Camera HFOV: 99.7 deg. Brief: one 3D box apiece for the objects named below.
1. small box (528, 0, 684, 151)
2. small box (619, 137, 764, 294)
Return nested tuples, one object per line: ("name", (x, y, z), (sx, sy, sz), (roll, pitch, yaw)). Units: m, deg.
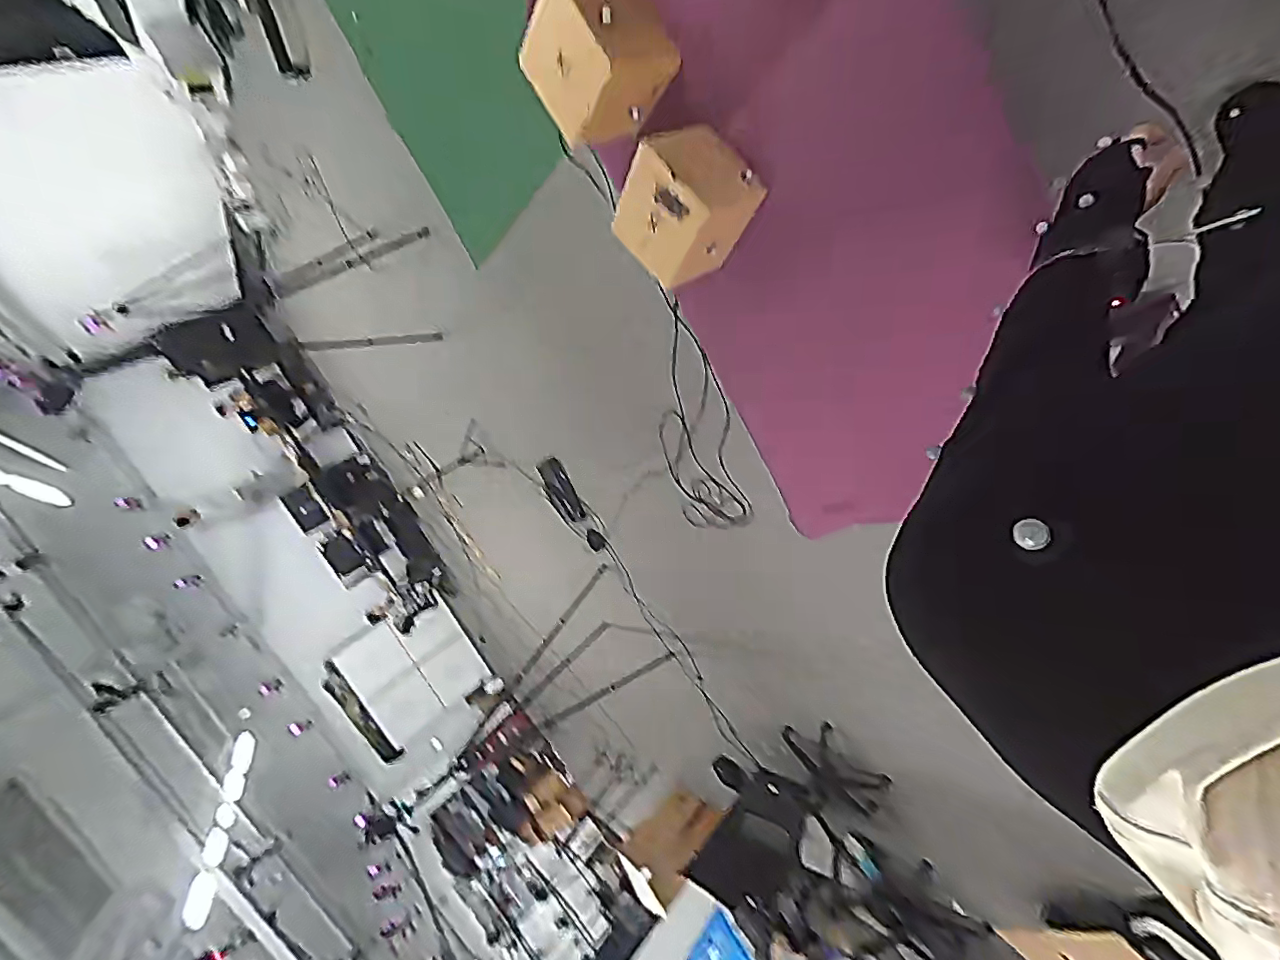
("small box", (-0.060, -0.720, 0.944), (0.179, 0.176, 0.168), (56, 148, -5))
("small box", (0.095, -0.476, 0.970), (0.168, 0.176, 0.179), (50, 149, 8))
